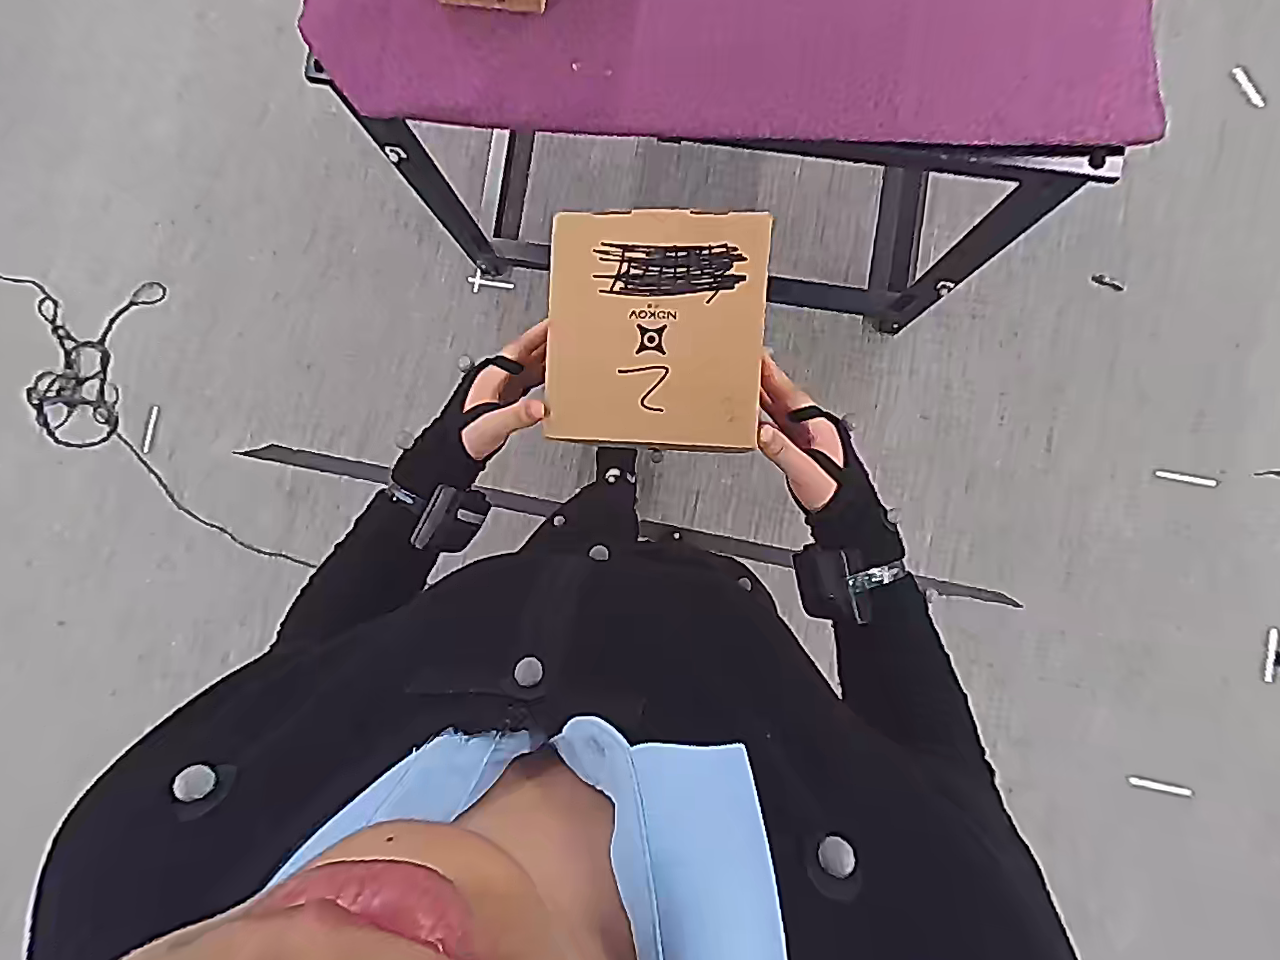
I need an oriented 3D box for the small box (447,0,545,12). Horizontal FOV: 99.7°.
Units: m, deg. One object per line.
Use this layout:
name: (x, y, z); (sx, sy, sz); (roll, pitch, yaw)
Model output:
small box: (-0.213, -0.797, 0.730); (0.168, 0.176, 0.179); (7, 88, 2)
